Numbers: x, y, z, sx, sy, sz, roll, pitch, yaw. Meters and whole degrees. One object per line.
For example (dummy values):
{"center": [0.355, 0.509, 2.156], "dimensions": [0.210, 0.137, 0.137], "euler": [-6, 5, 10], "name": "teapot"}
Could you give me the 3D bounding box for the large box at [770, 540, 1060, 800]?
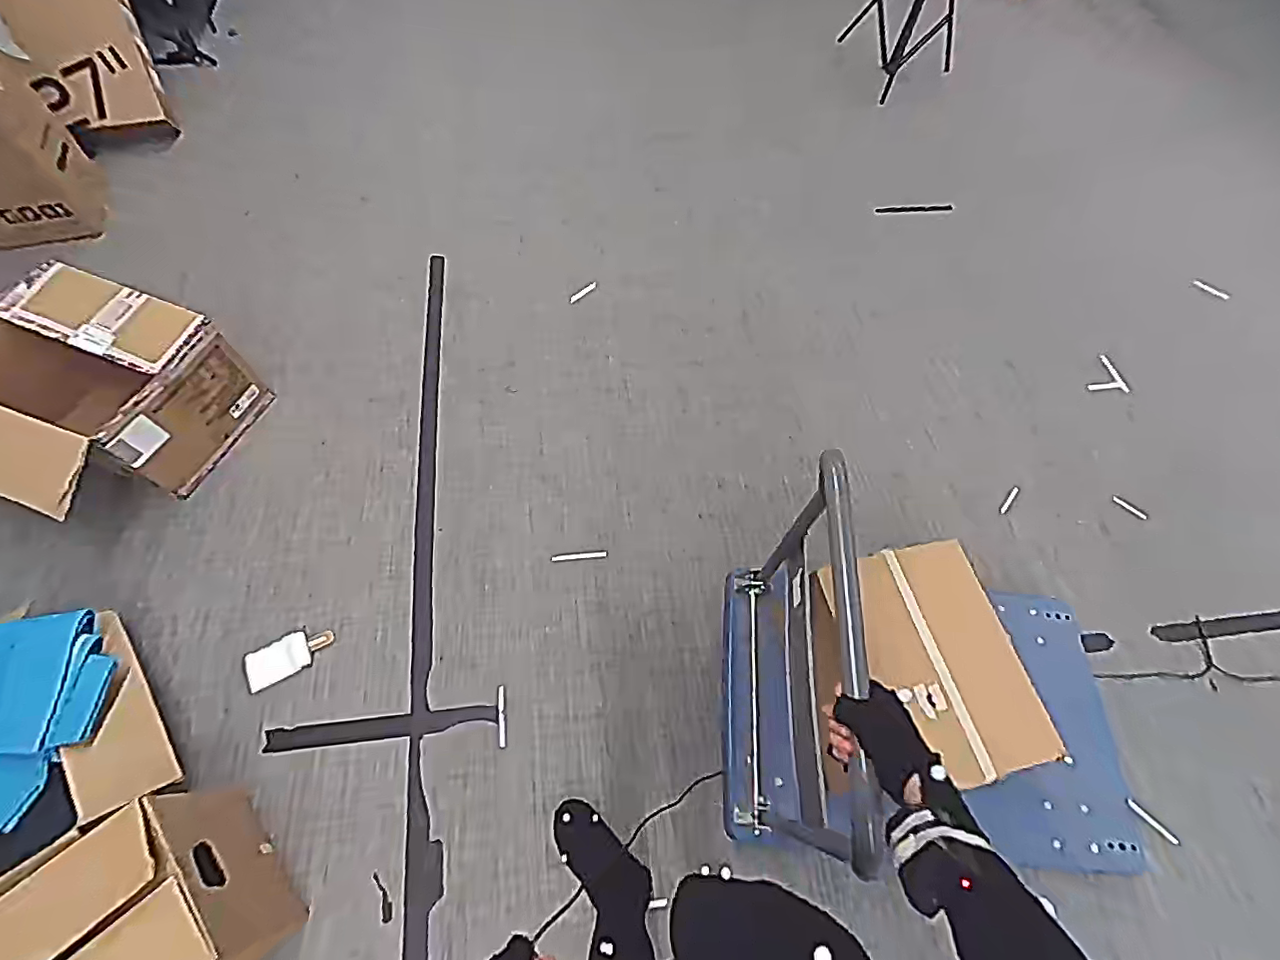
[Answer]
{"center": [0.513, 0.384, 1.112], "dimensions": [0.320, 0.320, 0.408], "euler": [-10, 64, -9], "name": "large box"}
